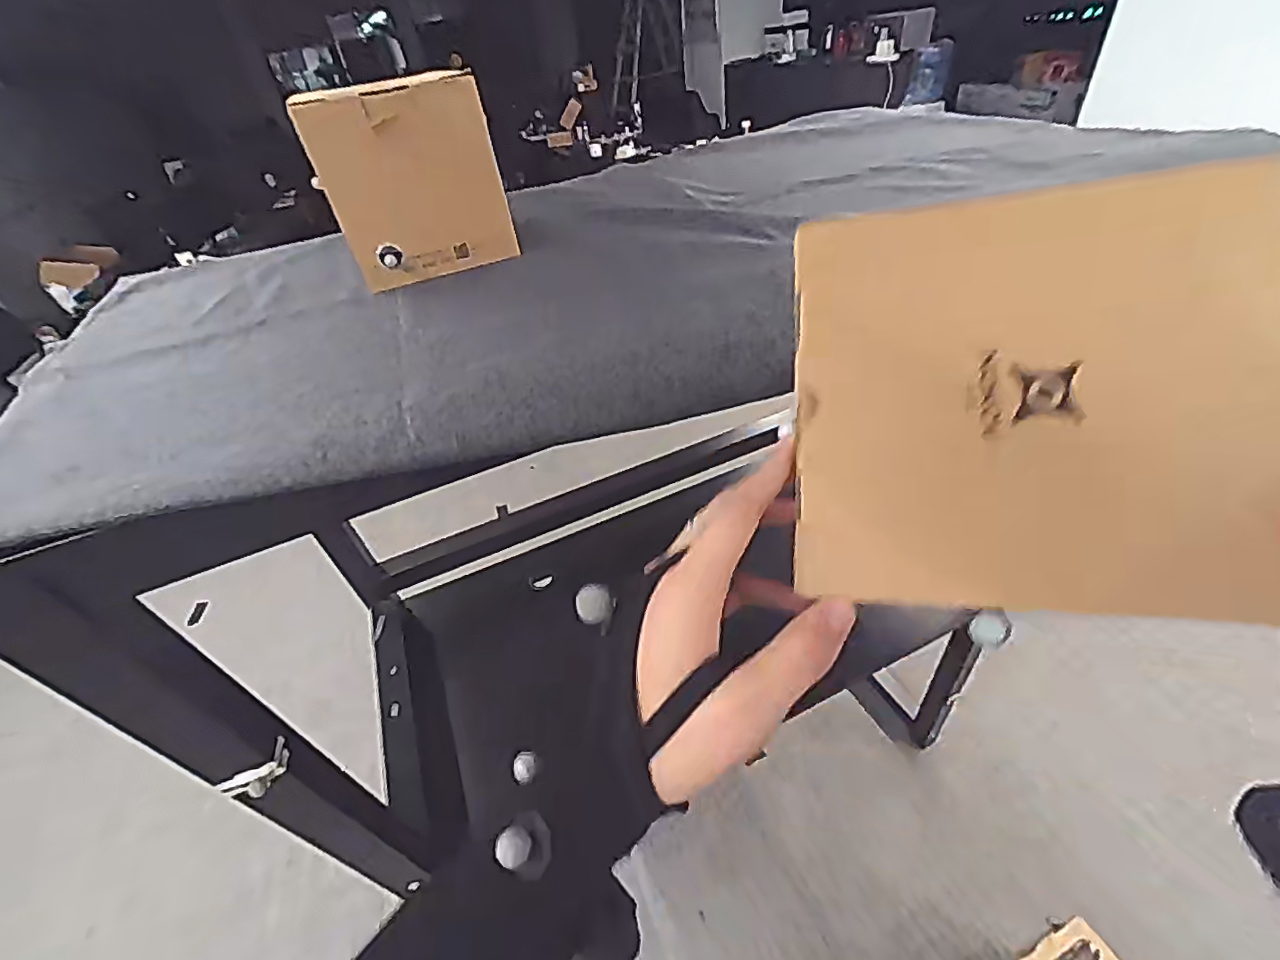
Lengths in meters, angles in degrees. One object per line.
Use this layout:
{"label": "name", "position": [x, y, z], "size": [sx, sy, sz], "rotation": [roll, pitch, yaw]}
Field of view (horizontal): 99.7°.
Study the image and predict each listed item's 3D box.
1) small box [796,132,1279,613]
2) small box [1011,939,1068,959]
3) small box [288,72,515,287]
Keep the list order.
{"label": "small box", "position": [0.174, -0.030, 0.275], "size": [0.179, 0.176, 0.168], "rotation": [-1, 83, 19]}
{"label": "small box", "position": [0.780, 1.043, 1.044], "size": [0.179, 0.176, 0.168], "rotation": [-23, 42, -15]}
{"label": "small box", "position": [-0.251, -0.328, 0.594], "size": [0.168, 0.176, 0.179], "rotation": [-21, 41, -14]}
